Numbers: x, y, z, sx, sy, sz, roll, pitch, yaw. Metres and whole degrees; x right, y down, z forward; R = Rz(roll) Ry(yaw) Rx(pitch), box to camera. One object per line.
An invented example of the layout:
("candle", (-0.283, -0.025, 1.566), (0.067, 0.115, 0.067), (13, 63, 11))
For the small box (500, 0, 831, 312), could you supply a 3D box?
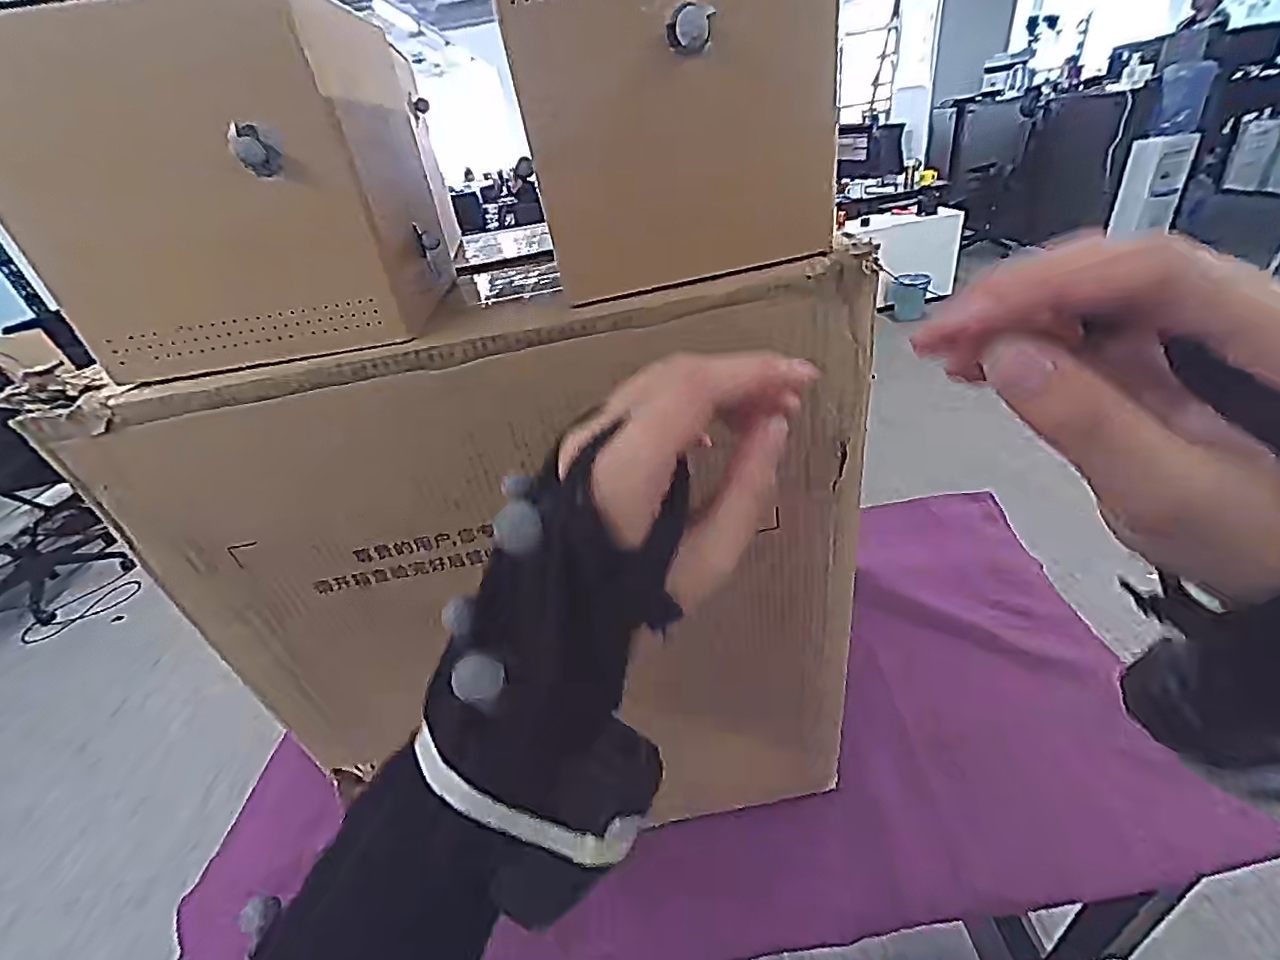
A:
("small box", (0.014, -0.229, 0.350), (0.168, 0.176, 0.179), (-13, 33, -1))
